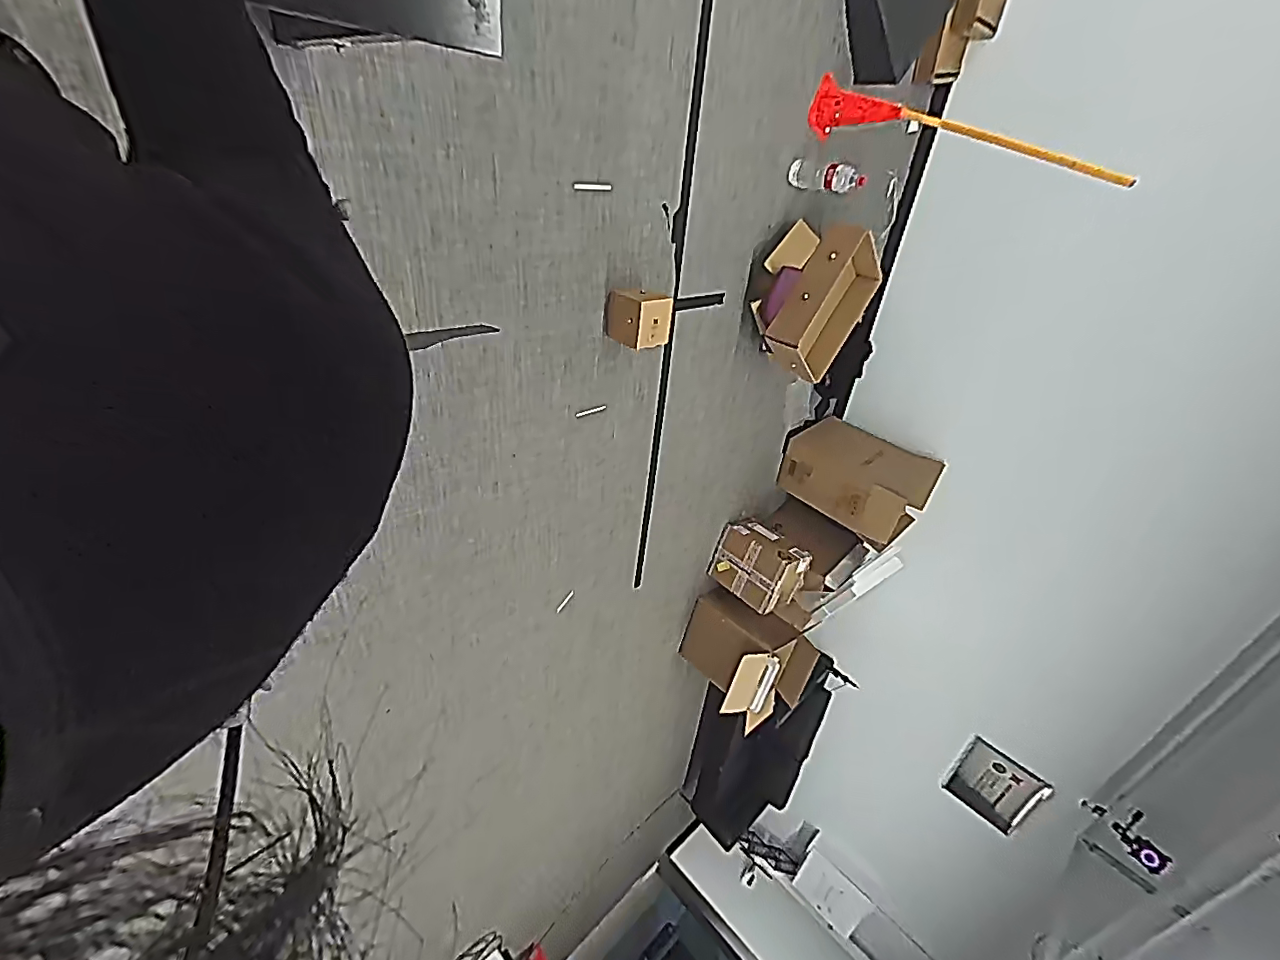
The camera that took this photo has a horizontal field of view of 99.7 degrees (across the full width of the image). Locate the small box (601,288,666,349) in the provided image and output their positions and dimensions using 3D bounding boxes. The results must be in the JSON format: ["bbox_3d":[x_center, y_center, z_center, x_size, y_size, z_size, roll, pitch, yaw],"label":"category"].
[{"bbox_3d":[-0.028,-0.606,2.007,0.168,0.176,0.179,-23,133,-39],"label":"small box"}]
